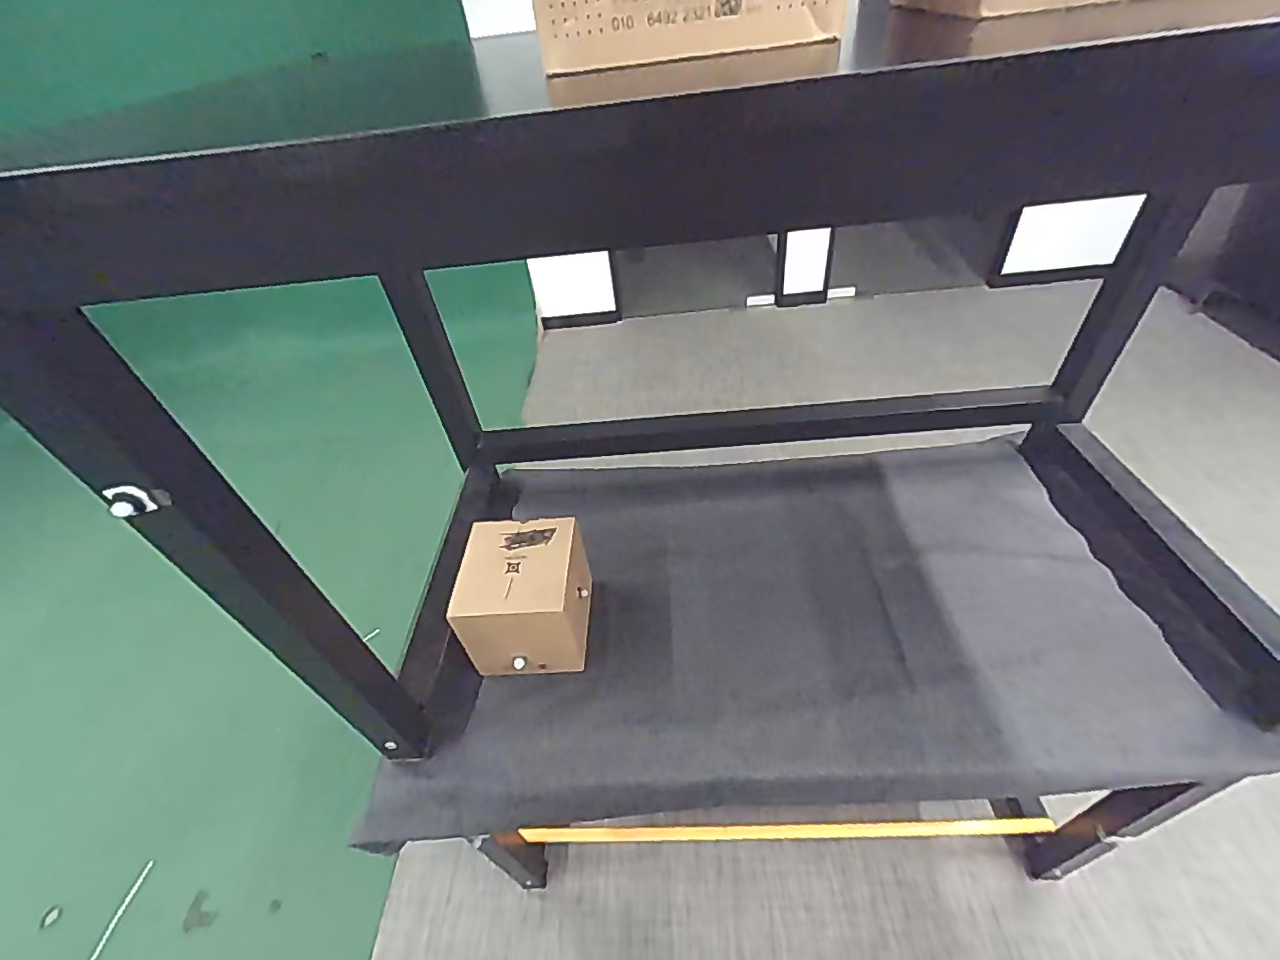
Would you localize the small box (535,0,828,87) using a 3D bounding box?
[{"bbox_3d":[0.019,-0.349,0.320,0.168,0.176,0.179,-4,42,5],"label":"small box"}]

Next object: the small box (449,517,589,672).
[{"bbox_3d":[-0.176,0.181,0.853,0.168,0.176,0.179,-4,43,4],"label":"small box"}]
